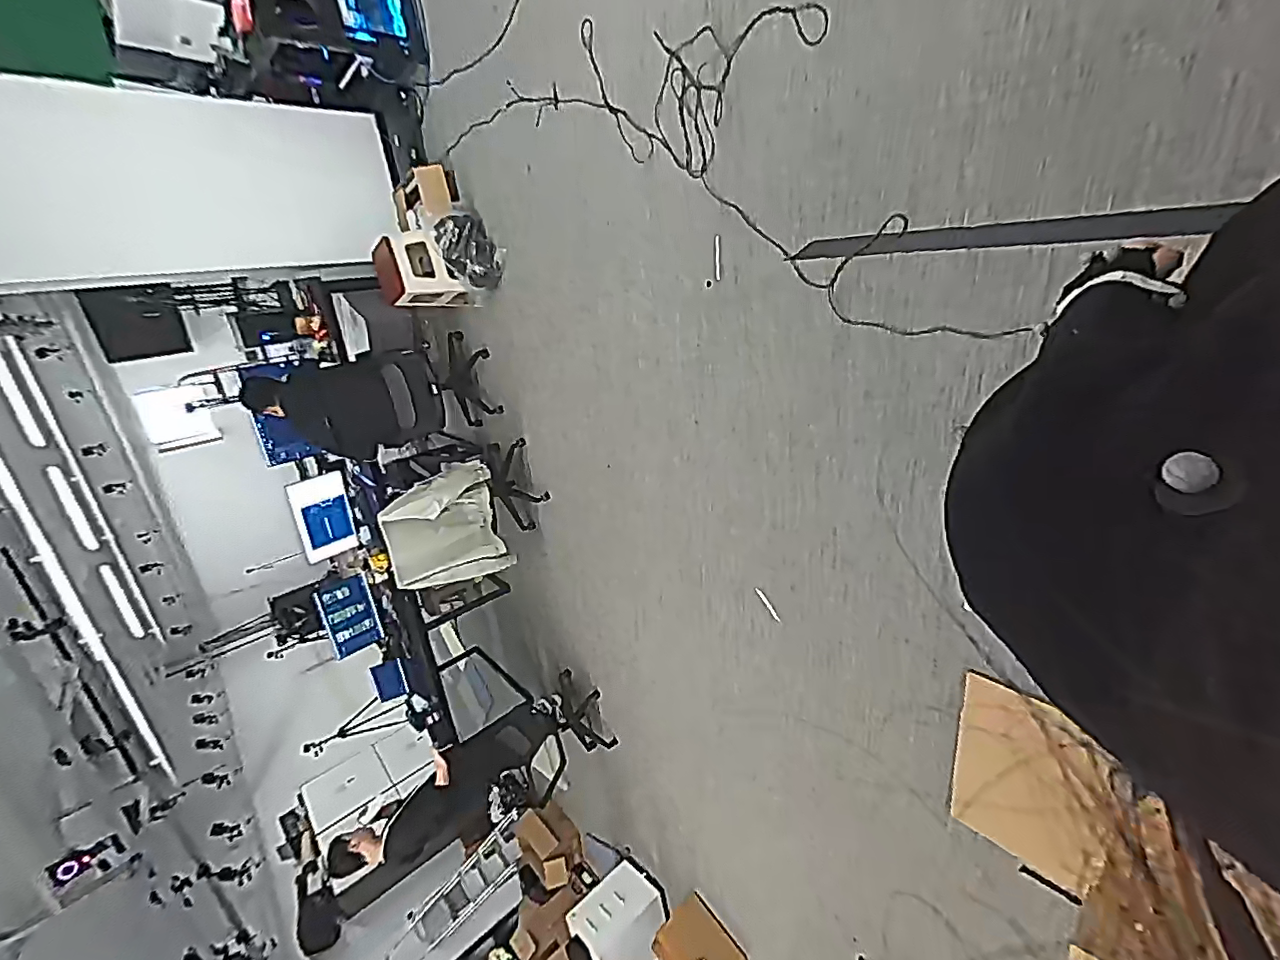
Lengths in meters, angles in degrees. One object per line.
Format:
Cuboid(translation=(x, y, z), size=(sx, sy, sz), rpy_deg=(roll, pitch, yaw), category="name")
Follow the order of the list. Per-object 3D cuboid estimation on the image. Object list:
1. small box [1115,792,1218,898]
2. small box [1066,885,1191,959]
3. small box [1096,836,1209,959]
Cuboid(translation=(1.257, 0.906, 1.304), size=(0.168, 0.176, 0.179), rpy_deg=(14, 119, 48), category="small box")
Cuboid(translation=(1.006, 1.008, 1.118), size=(0.168, 0.176, 0.179), rpy_deg=(12, 117, 49), category="small box")
Cuboid(translation=(1.135, 0.960, 1.208), size=(0.168, 0.176, 0.179), rpy_deg=(12, 118, 48), category="small box")
